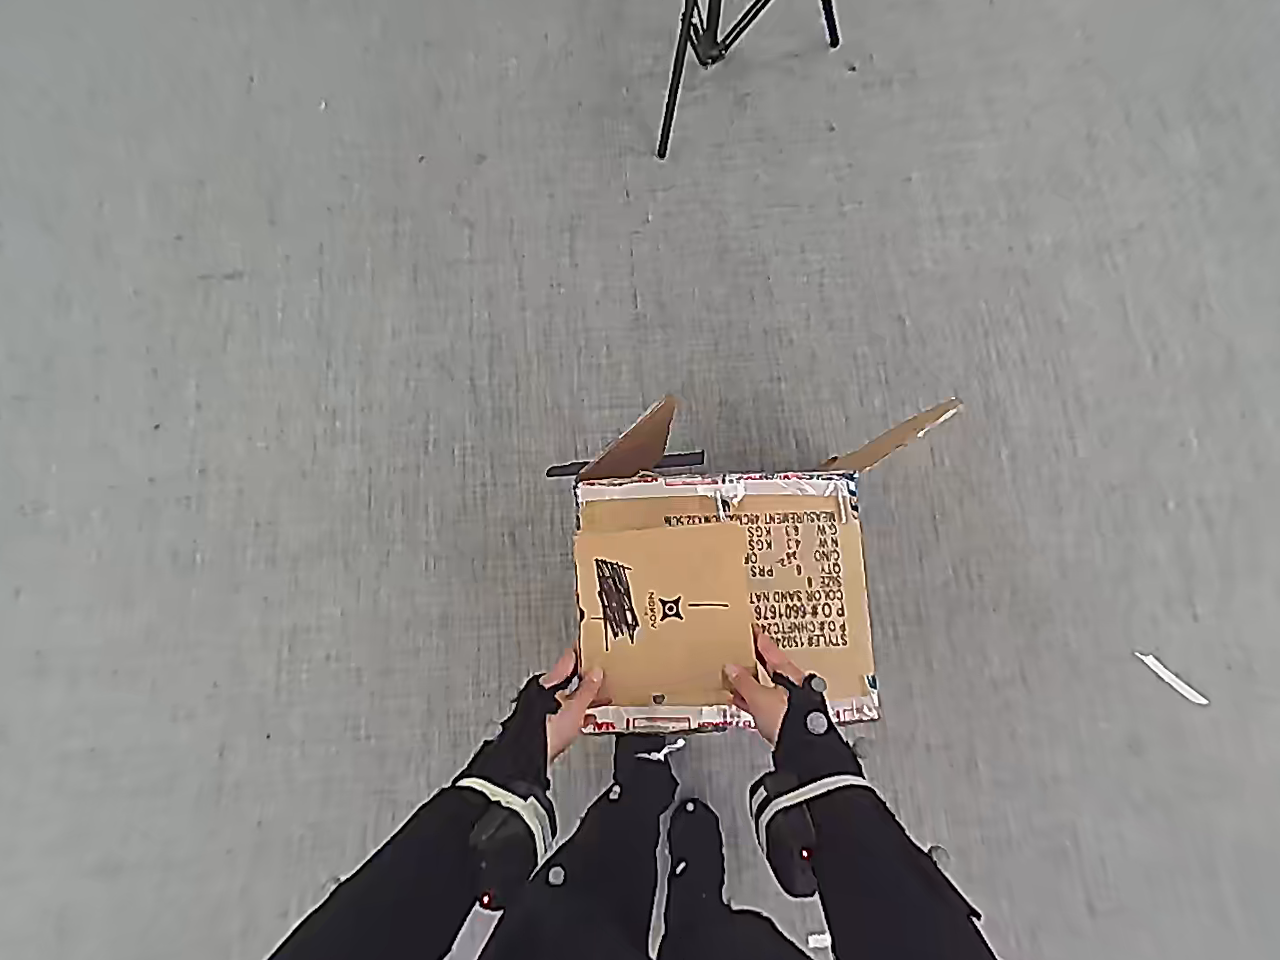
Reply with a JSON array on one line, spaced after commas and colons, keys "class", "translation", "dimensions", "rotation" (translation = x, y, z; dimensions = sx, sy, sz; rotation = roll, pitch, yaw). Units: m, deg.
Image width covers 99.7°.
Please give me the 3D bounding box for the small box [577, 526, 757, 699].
[{"class": "small box", "translation": [0.030, 0.153, 0.626], "dimensions": [0.179, 0.176, 0.168], "rotation": [-5, 75, 2]}]
